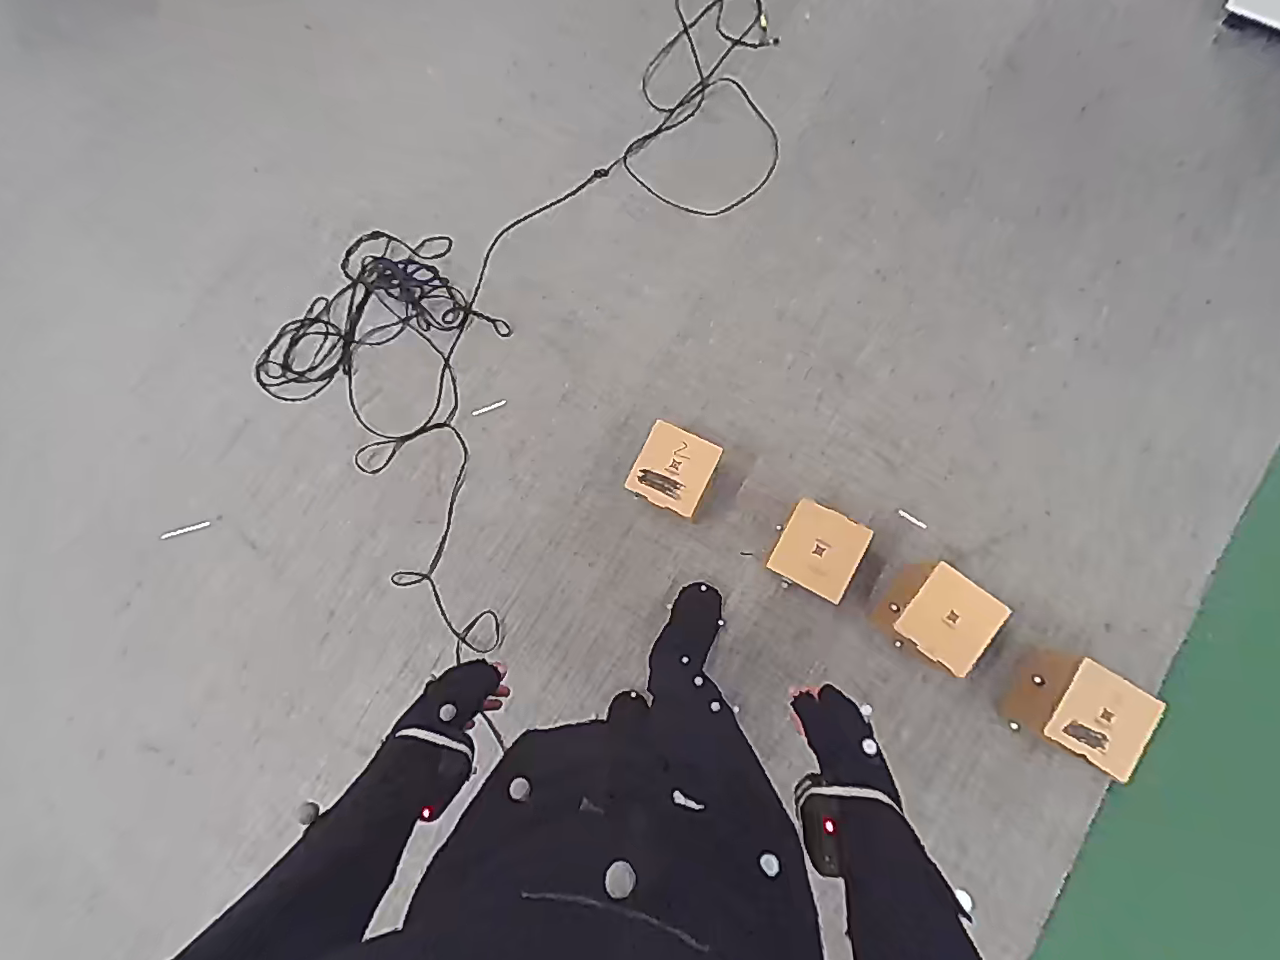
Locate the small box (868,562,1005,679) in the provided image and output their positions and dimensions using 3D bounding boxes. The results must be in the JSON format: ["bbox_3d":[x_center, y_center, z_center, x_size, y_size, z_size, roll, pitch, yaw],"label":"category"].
[{"bbox_3d":[0.629,0.295,1.175,0.168,0.176,0.179,37,86,9],"label":"small box"}]

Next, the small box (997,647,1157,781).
[{"bbox_3d":[0.889,0.473,1.123,0.168,0.176,0.179,32,84,9],"label":"small box"}]

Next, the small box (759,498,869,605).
[{"bbox_3d":[0.381,0.161,1.218,0.168,0.176,0.179,28,86,10],"label":"small box"}]
